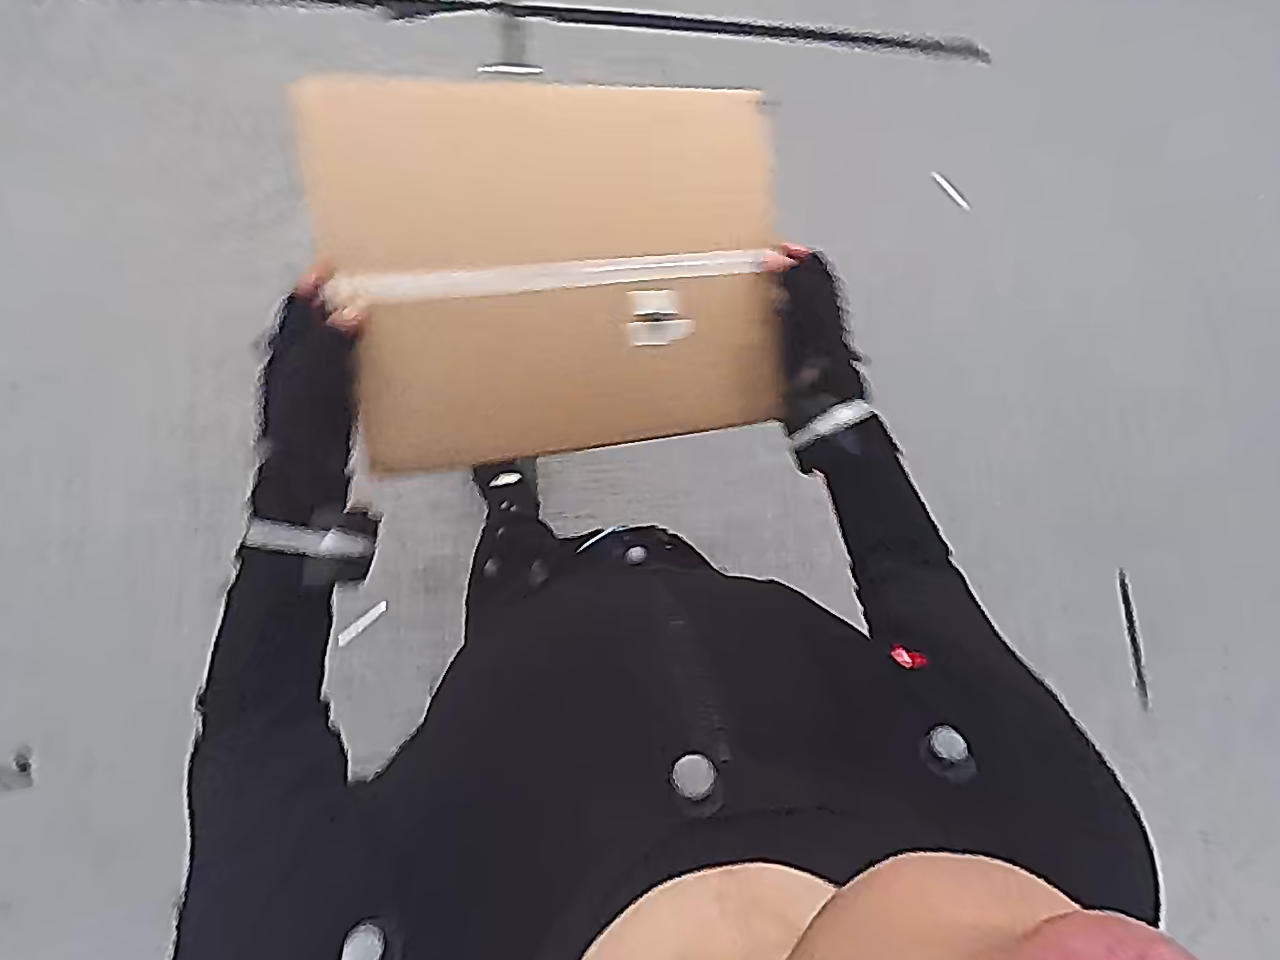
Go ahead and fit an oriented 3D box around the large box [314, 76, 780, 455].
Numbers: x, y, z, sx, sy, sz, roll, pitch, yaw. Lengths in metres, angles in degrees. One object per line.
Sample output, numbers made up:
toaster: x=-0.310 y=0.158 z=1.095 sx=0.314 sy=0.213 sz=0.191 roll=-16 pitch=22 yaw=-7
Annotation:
large box: x=-0.098 y=-0.218 z=0.644 sx=0.408 sy=0.320 sz=0.320 roll=-9 pitch=100 yaw=-15
